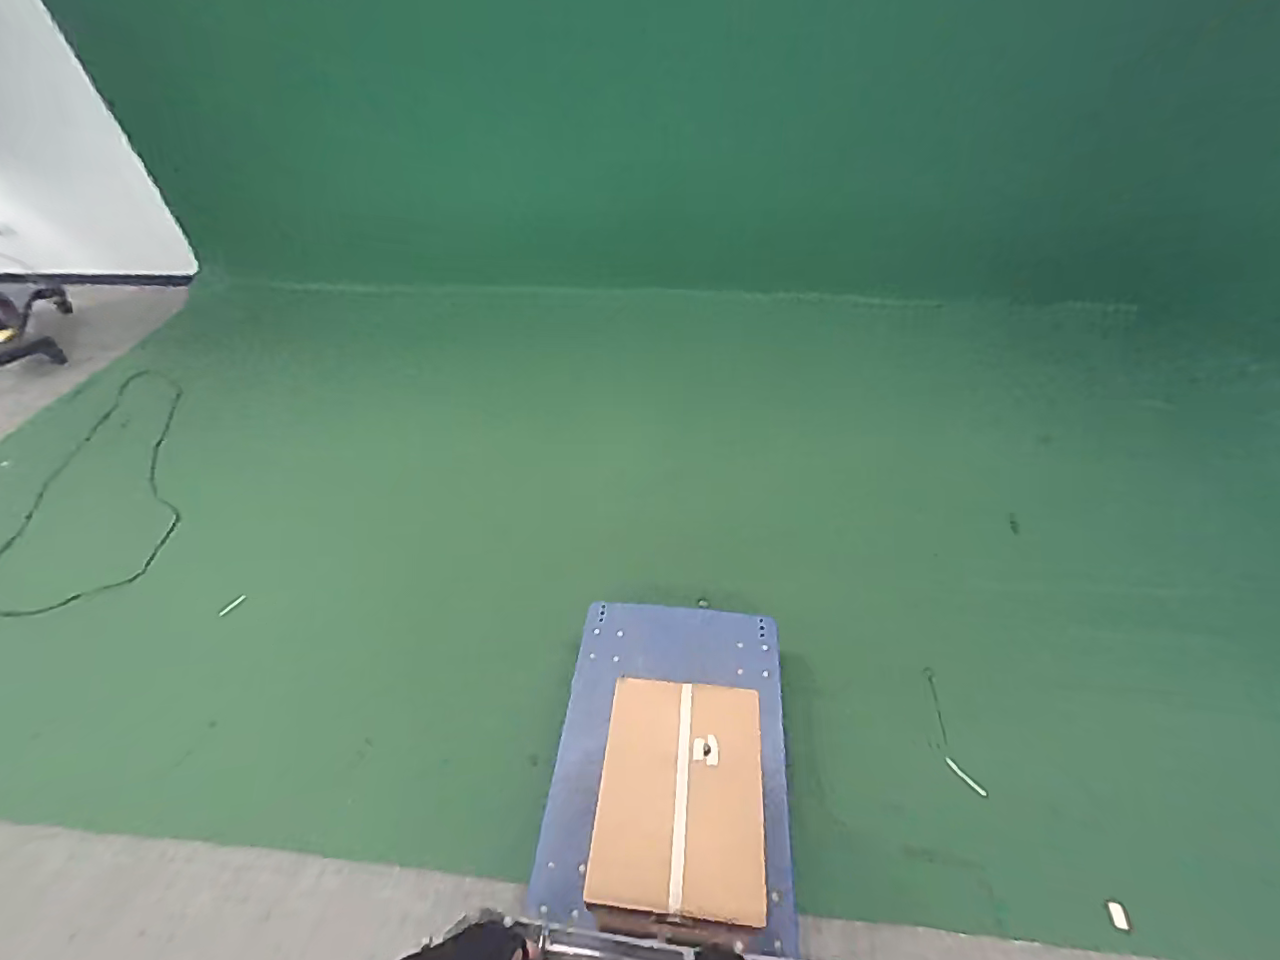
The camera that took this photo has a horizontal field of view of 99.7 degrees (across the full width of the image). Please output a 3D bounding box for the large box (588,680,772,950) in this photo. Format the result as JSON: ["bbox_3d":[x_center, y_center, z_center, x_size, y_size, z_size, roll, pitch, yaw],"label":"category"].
[{"bbox_3d":[0.088,0.693,1.134,0.320,0.320,0.408,4,44,6],"label":"large box"}]
